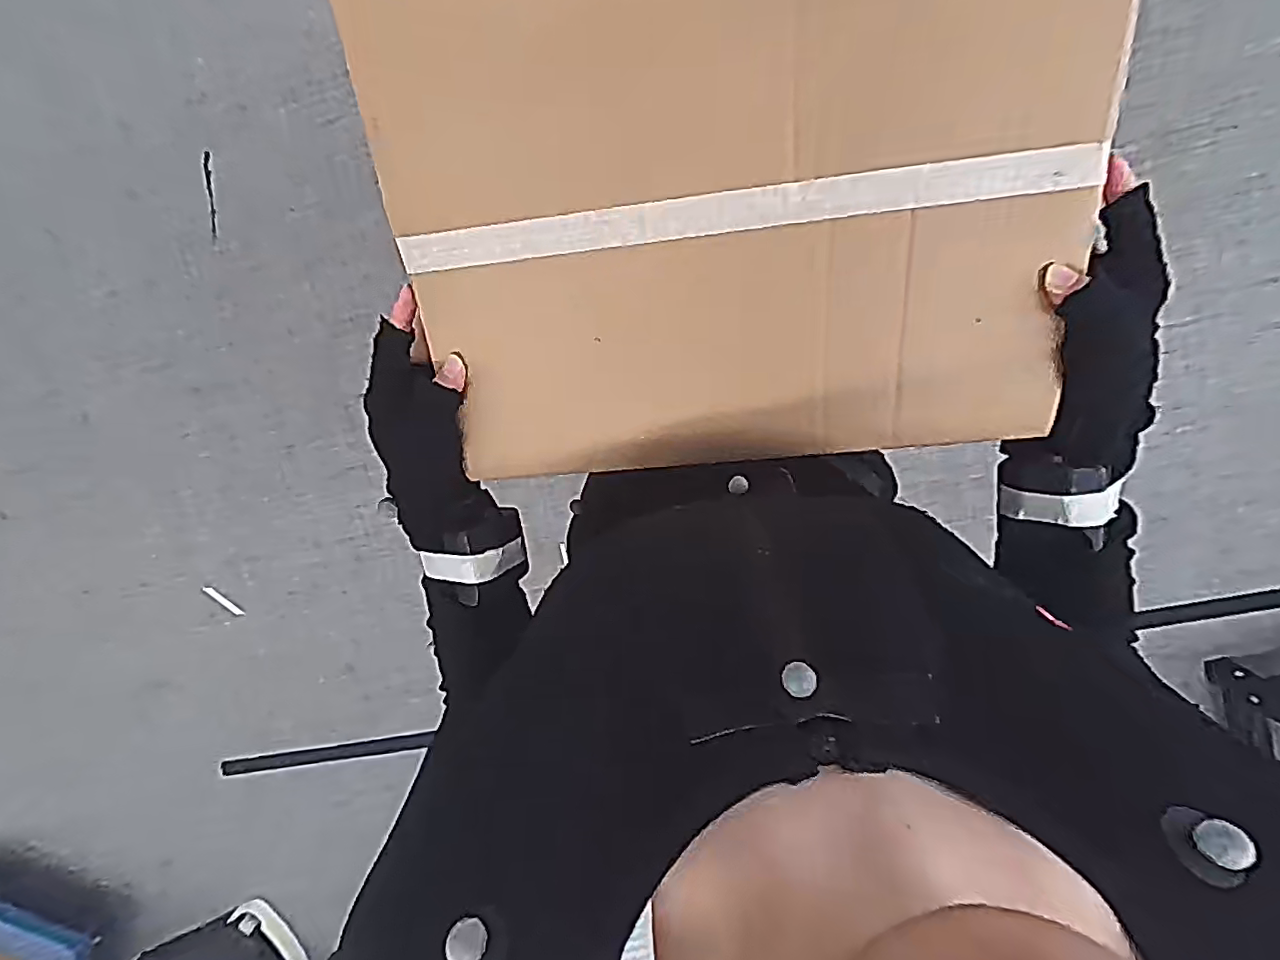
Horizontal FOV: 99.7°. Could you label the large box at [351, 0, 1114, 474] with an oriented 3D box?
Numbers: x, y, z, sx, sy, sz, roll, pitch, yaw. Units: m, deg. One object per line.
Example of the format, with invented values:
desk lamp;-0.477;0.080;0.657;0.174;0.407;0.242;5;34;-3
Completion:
large box;0.062;-0.220;0.464;0.408;0.320;0.320;-4;115;6
